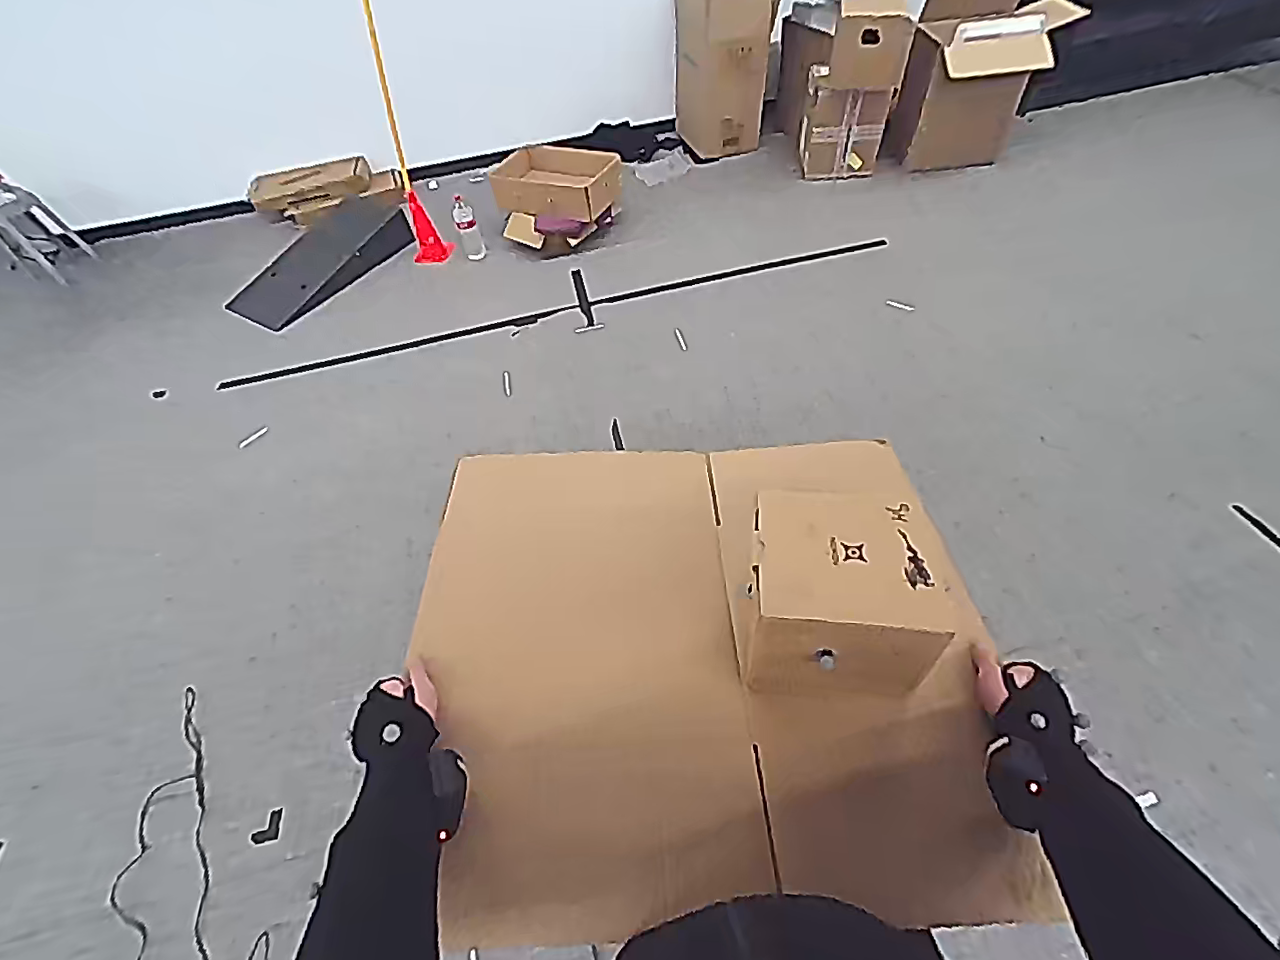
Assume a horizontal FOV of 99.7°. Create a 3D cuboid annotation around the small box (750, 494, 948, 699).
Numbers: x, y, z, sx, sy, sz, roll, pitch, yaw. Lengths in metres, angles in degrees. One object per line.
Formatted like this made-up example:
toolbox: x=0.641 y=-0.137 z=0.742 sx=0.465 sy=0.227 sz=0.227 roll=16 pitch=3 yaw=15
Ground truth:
small box: x=0.216 y=0.133 z=0.614 sx=0.179 sy=0.176 sz=0.168 roll=2 pitch=48 yaw=10
